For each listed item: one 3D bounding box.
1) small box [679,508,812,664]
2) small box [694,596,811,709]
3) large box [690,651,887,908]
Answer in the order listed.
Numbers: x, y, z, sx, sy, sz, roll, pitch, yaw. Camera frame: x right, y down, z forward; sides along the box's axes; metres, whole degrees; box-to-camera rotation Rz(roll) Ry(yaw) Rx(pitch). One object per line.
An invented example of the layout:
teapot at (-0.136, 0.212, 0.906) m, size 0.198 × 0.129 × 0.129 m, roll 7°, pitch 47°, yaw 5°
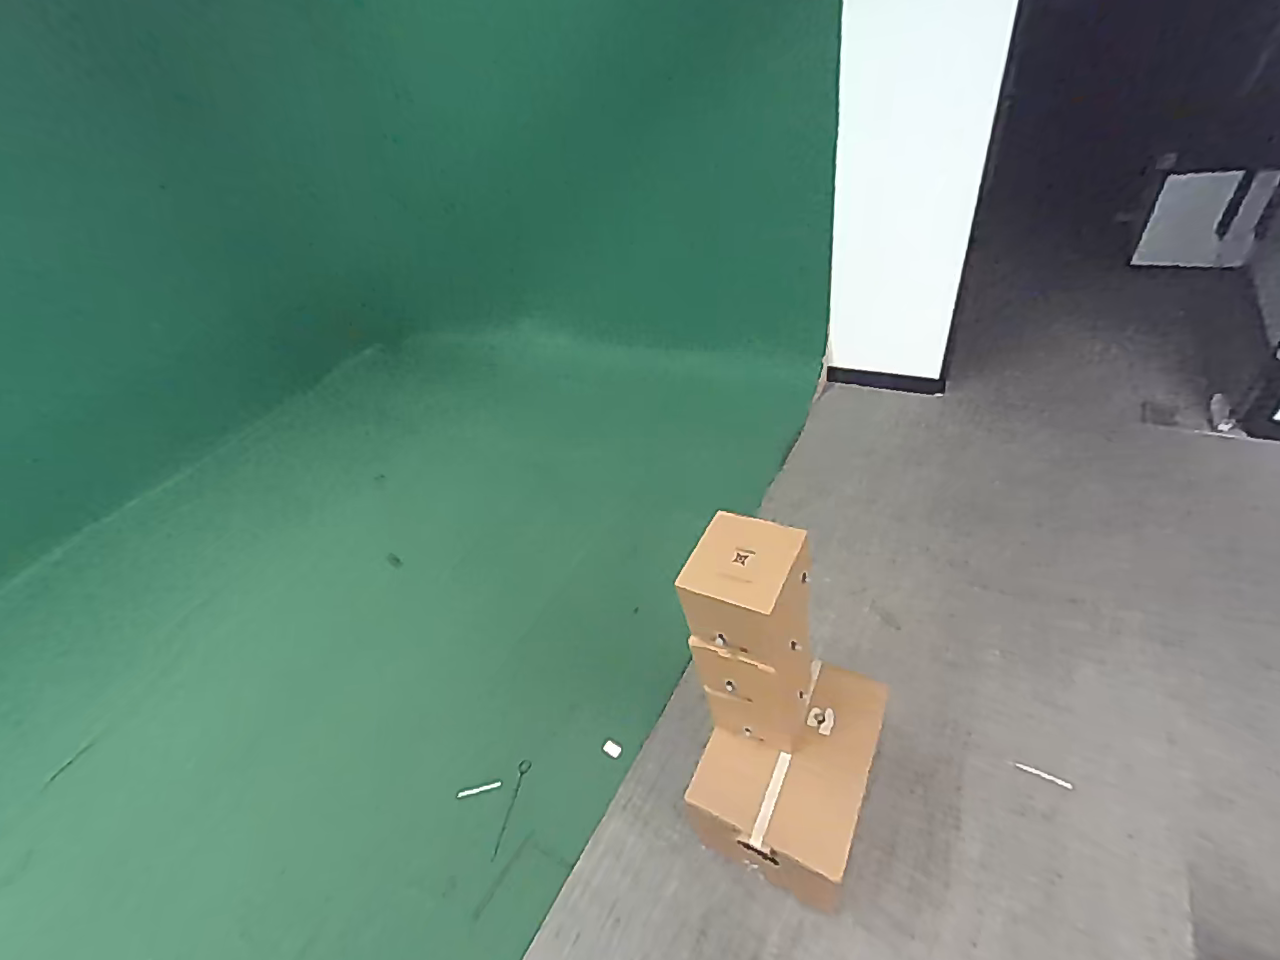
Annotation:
small box at (0.191, 0.180, 0.936) m, size 0.168 × 0.176 × 0.179 m, roll 13°, pitch 50°, yaw 33°
small box at (0.223, 0.302, 1.040) m, size 0.168 × 0.176 × 0.179 m, roll 11°, pitch 50°, yaw 31°
large box at (0.352, 0.649, 1.238) m, size 0.320 × 0.320 × 0.408 m, roll 13°, pitch 49°, yaw 29°
